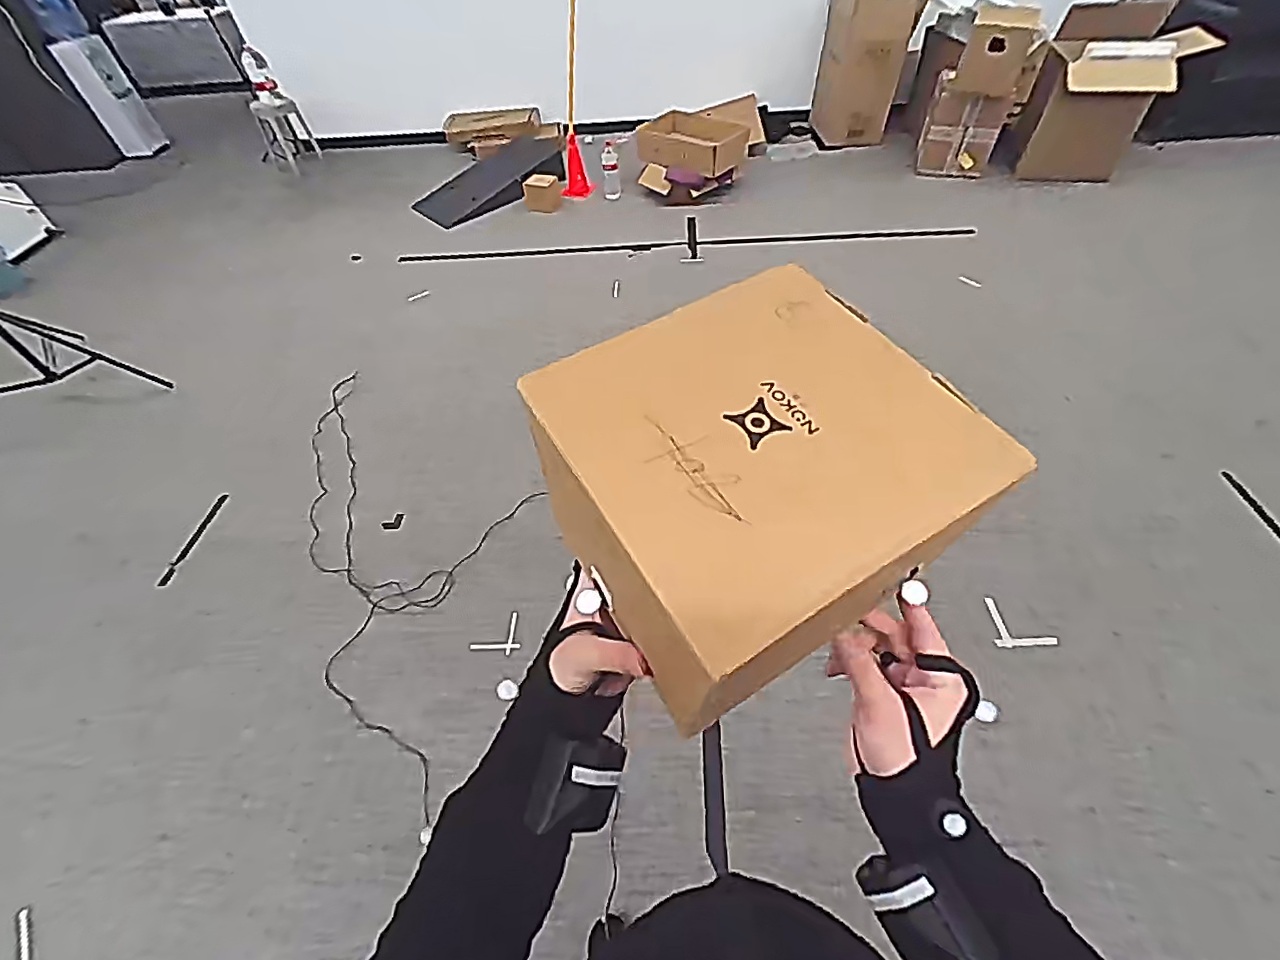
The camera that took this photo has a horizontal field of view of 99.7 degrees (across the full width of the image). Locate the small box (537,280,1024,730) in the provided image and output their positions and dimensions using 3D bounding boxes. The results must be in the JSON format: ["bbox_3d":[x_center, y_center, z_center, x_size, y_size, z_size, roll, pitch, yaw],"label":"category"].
[{"bbox_3d":[0.062,0.021,0.325,0.179,0.176,0.168,-29,62,-16],"label":"small box"}]
